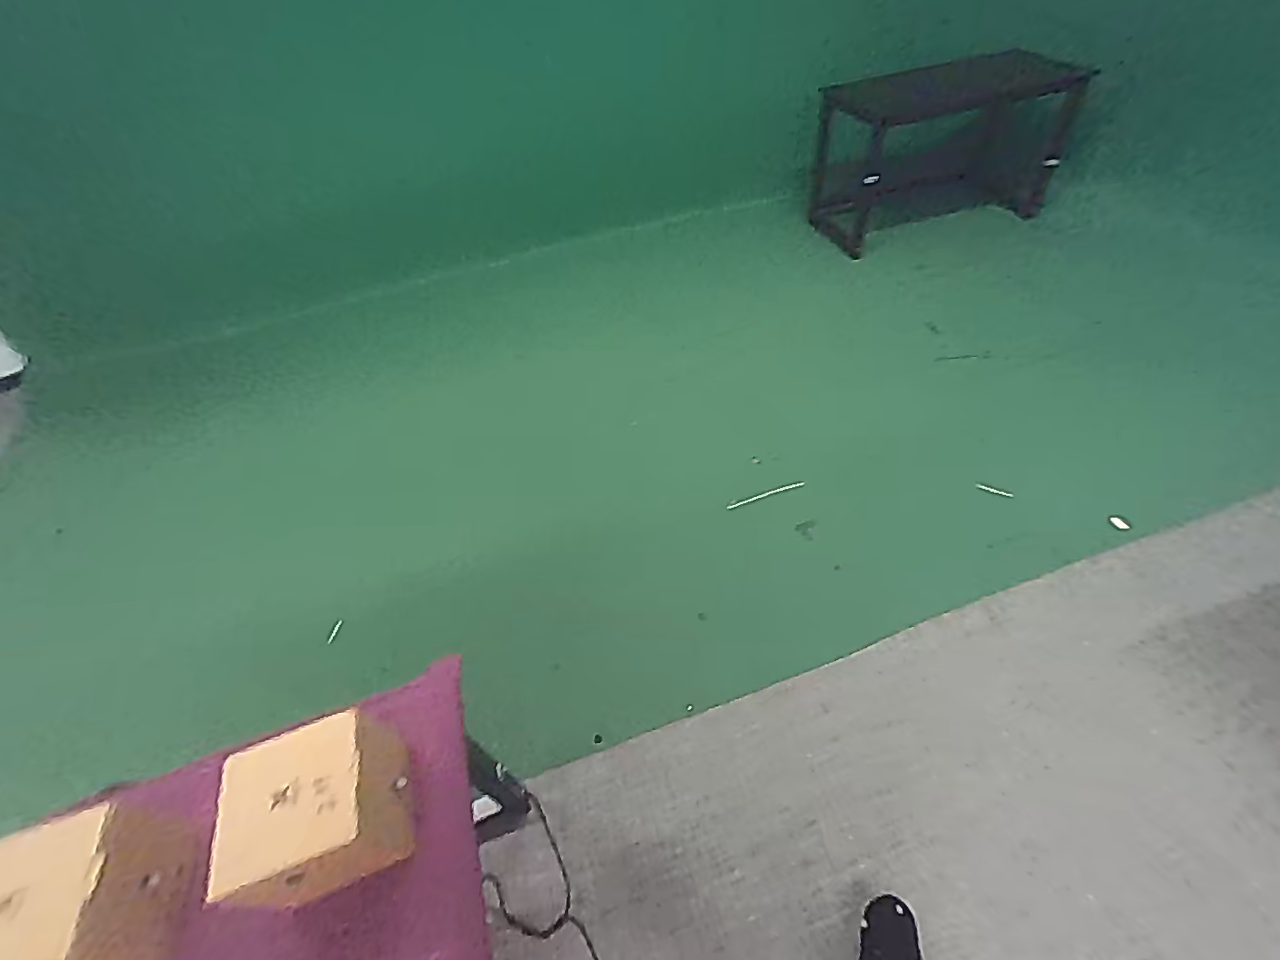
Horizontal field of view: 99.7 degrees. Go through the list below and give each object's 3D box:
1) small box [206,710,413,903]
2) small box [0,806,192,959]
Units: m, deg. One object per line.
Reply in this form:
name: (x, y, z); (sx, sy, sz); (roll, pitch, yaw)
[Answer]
small box: (-0.439, 0.453, 0.747); (0.179, 0.176, 0.168); (-19, 50, -9)
small box: (-0.734, 0.554, 0.697); (0.179, 0.176, 0.168); (-16, 48, -10)
